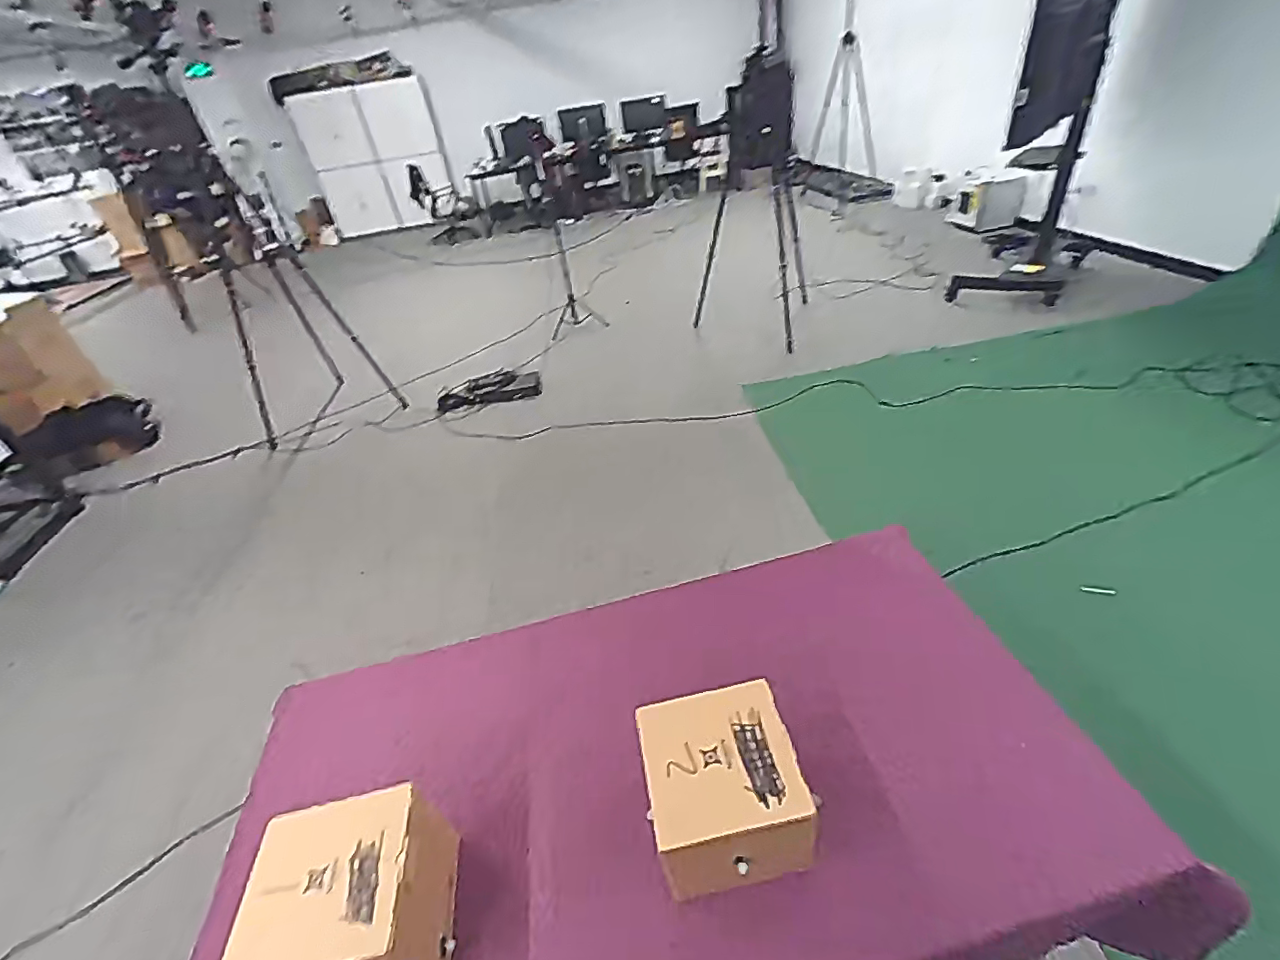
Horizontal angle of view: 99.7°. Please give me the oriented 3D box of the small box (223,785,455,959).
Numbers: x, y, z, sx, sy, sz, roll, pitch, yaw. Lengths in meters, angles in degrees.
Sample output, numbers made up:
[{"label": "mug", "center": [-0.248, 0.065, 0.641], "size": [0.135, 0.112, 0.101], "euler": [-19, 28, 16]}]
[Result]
[{"label": "small box", "center": [-0.333, 0.498, 0.636], "size": [0.179, 0.176, 0.168], "euler": [-13, 37, -4]}]
